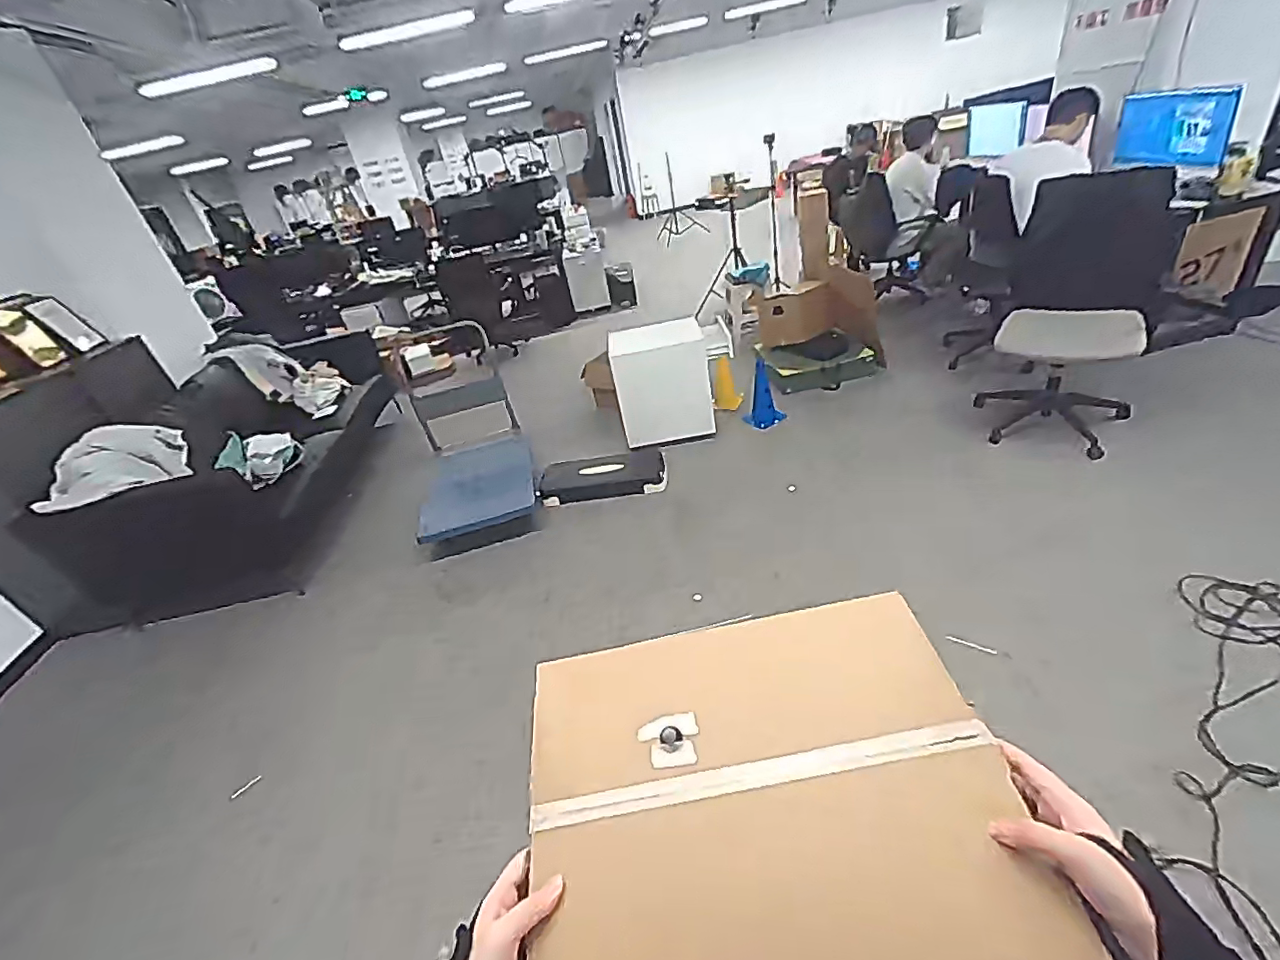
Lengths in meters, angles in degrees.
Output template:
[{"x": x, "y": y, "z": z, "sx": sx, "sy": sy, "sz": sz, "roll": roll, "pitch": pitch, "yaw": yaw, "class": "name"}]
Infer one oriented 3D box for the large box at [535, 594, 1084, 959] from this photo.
[{"x": 0.131, "y": 0.376, "z": 0.588, "sx": 0.408, "sy": 0.320, "sz": 0.320, "roll": -14, "pitch": 41, "yaw": 4, "class": "large box"}]
